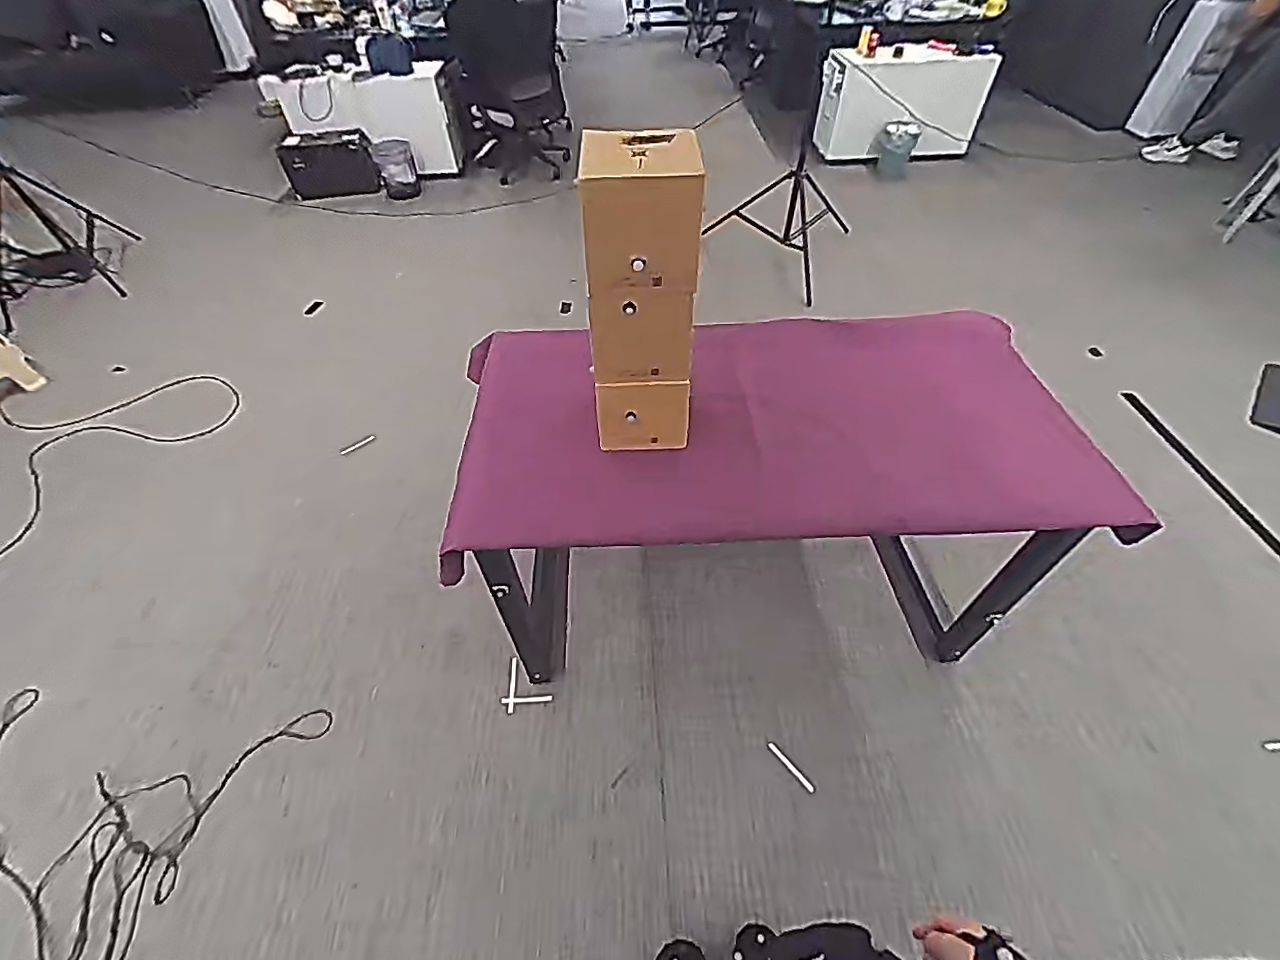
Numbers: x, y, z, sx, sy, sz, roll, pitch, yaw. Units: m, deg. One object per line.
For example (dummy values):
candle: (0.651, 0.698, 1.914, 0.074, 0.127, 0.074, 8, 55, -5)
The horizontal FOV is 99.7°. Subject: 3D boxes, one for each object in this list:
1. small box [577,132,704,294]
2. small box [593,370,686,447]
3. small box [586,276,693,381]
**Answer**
small box: (0.000, -0.396, 0.804, 0.168, 0.176, 0.179, -2, 49, 0)
small box: (0.002, -0.176, 1.049, 0.168, 0.176, 0.179, -2, 49, 0)
small box: (-0.002, -0.289, 0.929, 0.168, 0.176, 0.179, -2, 48, 0)
